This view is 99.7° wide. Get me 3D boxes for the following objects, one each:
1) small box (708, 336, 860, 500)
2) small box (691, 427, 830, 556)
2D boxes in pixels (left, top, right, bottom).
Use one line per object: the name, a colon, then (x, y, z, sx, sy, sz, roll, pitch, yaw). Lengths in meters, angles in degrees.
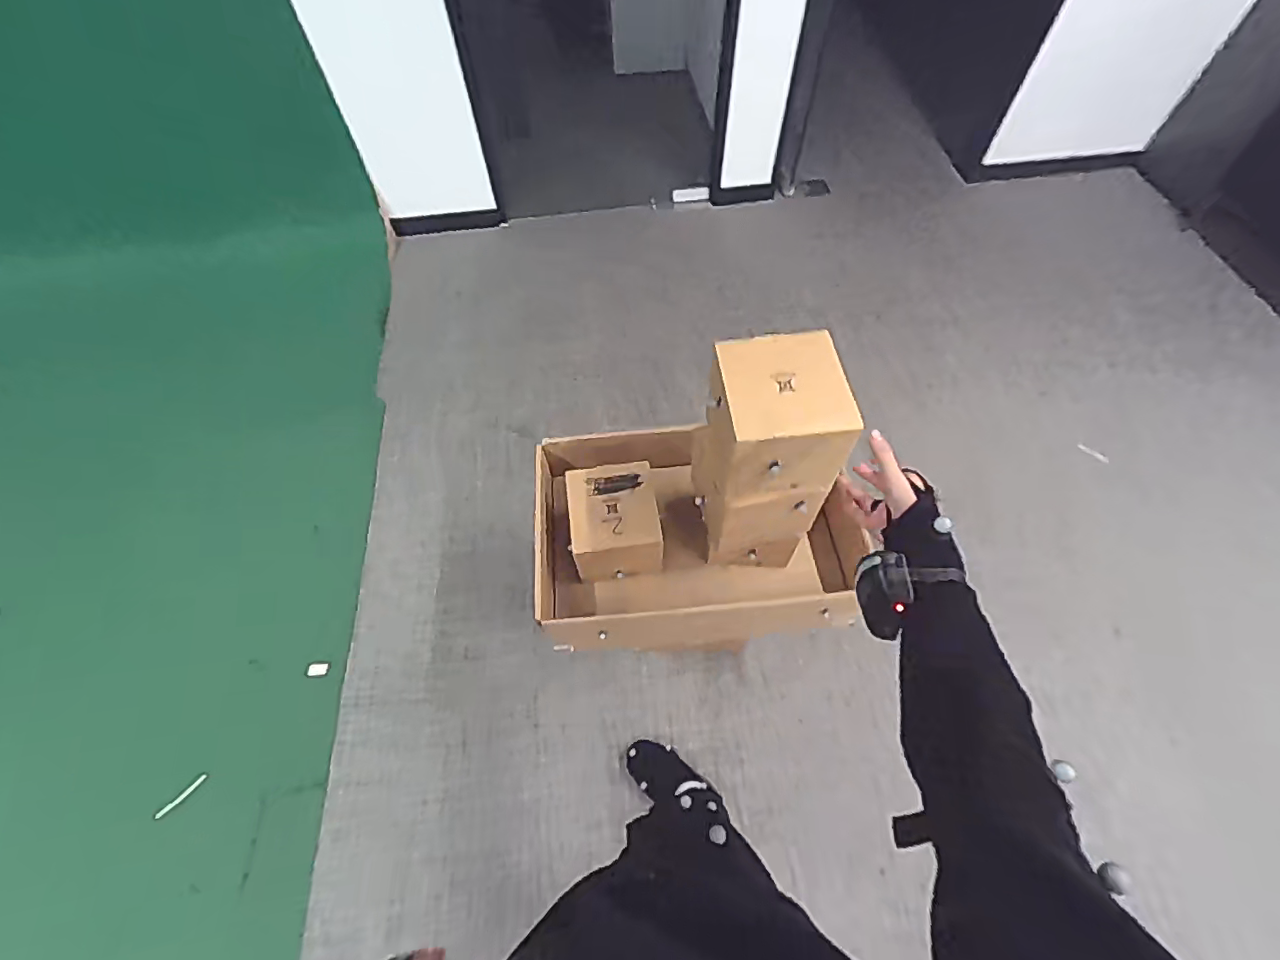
small box: (0.195, -0.081, 0.791, 0.168, 0.176, 0.179, -6, 58, -1)
small box: (0.193, 0.010, 0.925, 0.179, 0.176, 0.168, -13, 58, -5)
